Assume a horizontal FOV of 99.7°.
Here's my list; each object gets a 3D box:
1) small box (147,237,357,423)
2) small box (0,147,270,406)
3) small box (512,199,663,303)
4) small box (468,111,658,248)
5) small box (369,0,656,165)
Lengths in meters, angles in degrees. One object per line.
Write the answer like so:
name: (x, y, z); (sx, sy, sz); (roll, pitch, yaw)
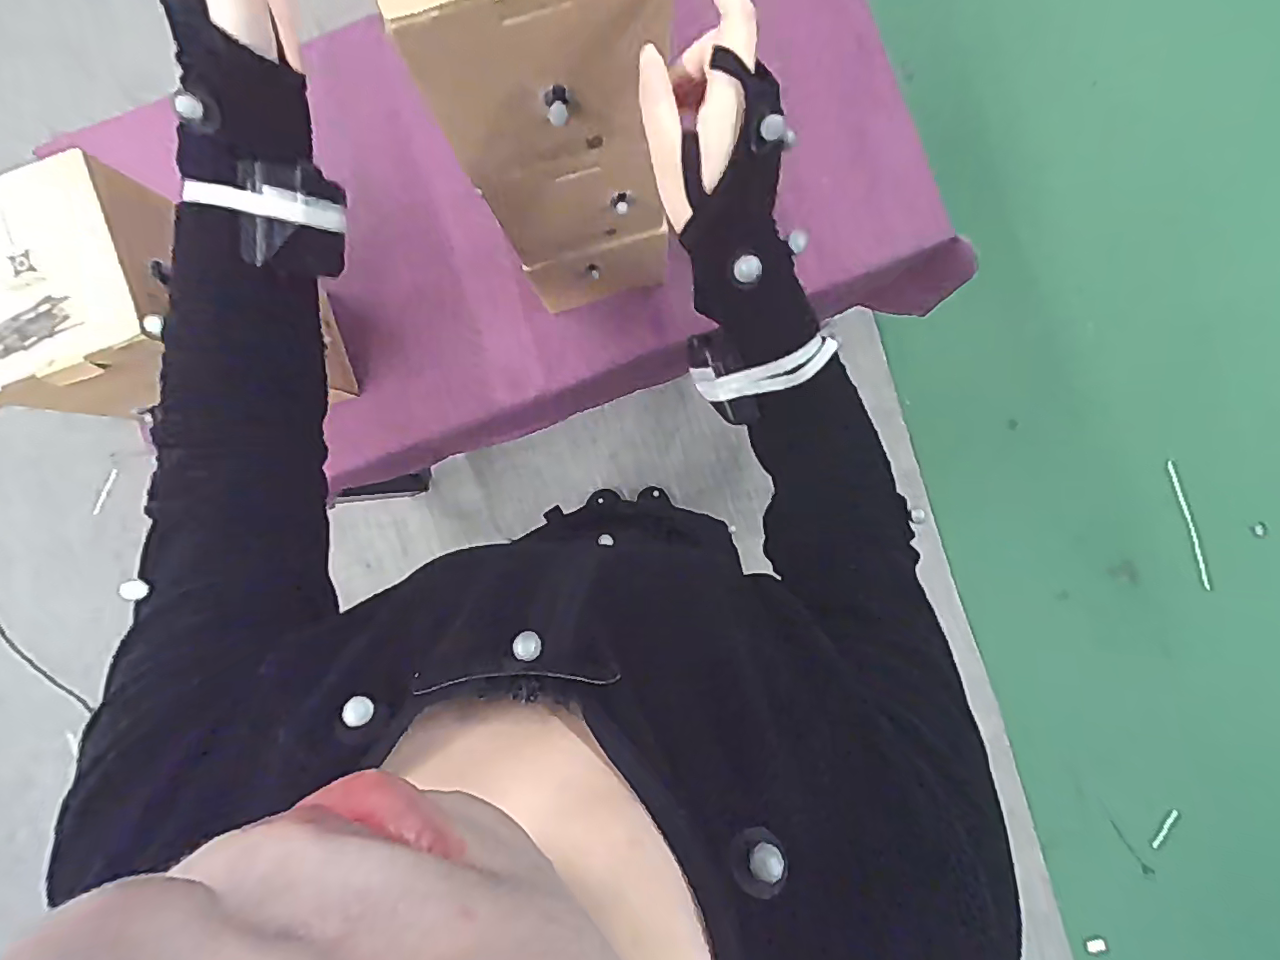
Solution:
small box: (-0.519, -0.182, 0.715); (0.179, 0.176, 0.168); (-19, 90, 1)
small box: (-0.527, -0.183, 0.551); (0.168, 0.176, 0.179); (-20, 89, 1)
small box: (-0.071, -0.347, 0.697); (0.179, 0.176, 0.168); (-15, 91, 2)
small box: (-0.079, -0.353, 0.534); (0.168, 0.176, 0.179); (-15, 90, 2)
small box: (-0.086, -0.351, 0.370); (0.168, 0.176, 0.179); (-16, 91, 1)
